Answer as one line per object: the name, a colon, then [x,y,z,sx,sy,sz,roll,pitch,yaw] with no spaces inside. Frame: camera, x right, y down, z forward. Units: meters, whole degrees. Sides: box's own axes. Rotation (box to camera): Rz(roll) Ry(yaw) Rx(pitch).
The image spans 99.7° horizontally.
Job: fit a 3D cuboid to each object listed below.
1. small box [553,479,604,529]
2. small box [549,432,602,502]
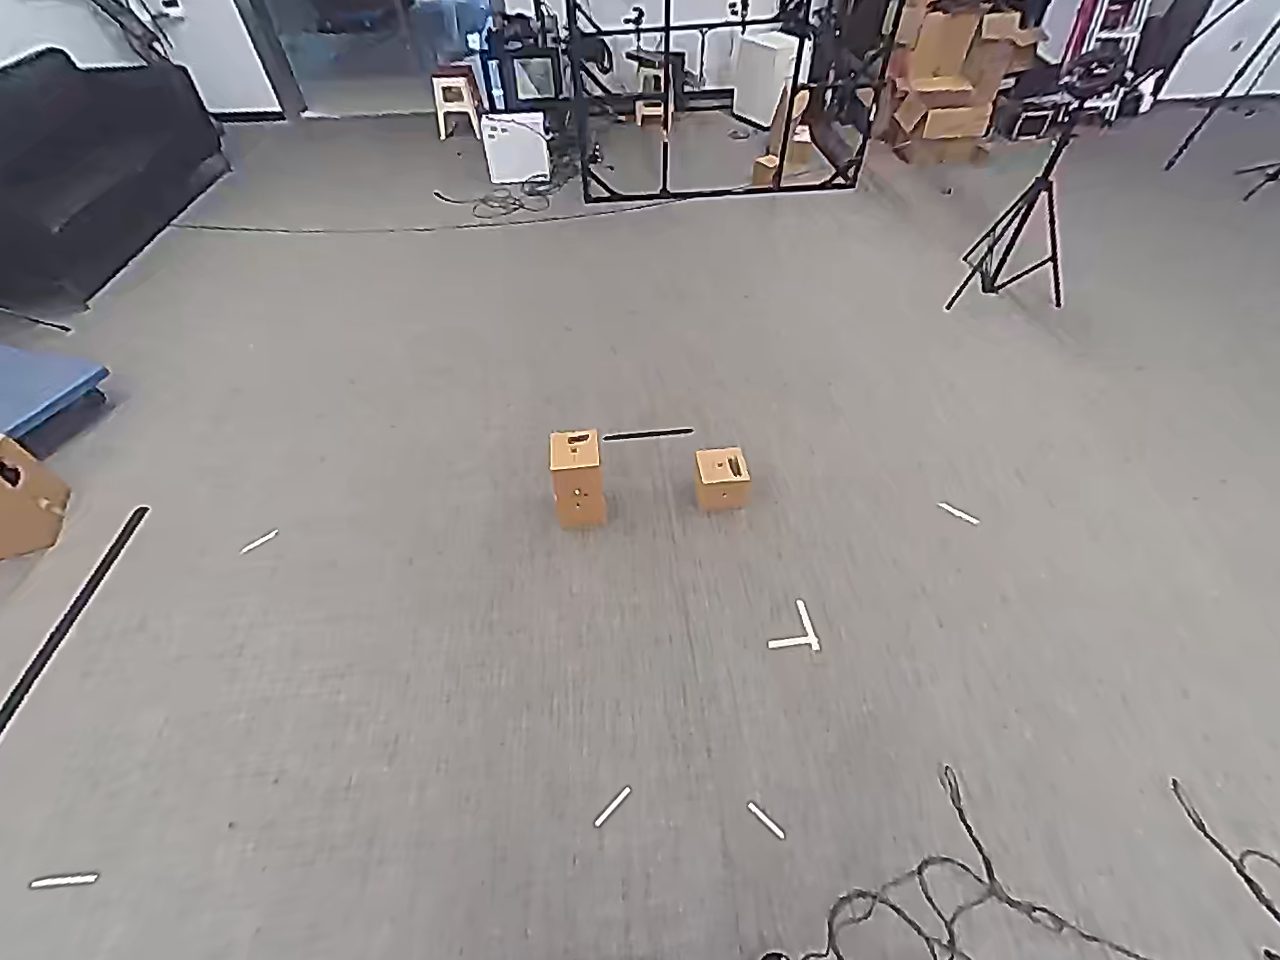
small box: [-0.225,0.064,2.017,0.179,0.176,0.168,-6,49,-3]
small box: [-0.224,-0.046,1.895,0.168,0.176,0.179,-6,50,-2]
